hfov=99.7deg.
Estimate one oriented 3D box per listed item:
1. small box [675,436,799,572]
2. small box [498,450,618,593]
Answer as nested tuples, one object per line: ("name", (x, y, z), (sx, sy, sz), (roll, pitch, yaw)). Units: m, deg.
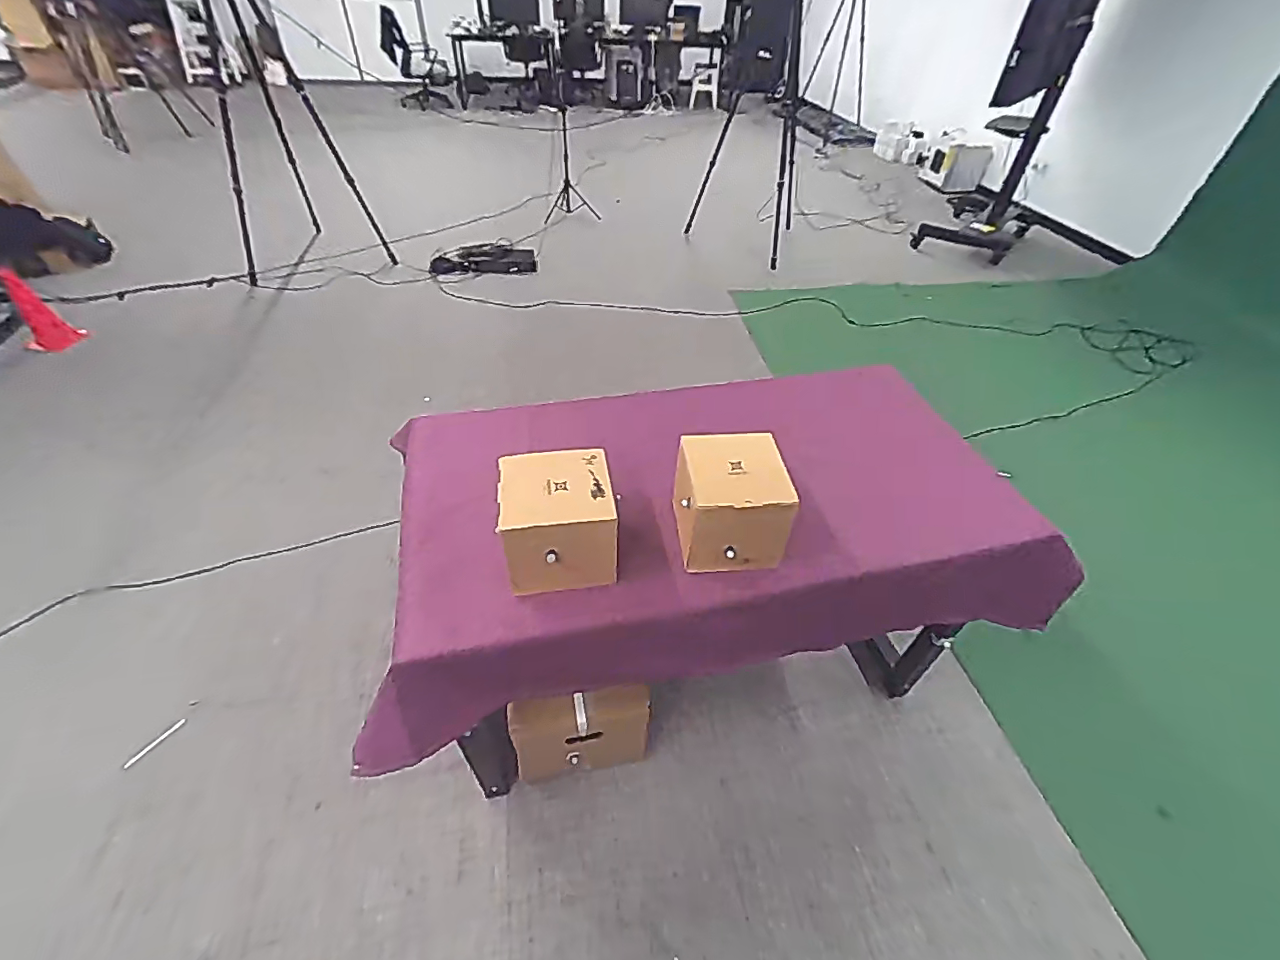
("small box", (0.157, 0.041, 0.953), (0.168, 0.176, 0.179), (-2, 45, -5))
("small box", (-0.134, 0.072, 0.902), (0.179, 0.176, 0.168), (-6, 45, -8))
